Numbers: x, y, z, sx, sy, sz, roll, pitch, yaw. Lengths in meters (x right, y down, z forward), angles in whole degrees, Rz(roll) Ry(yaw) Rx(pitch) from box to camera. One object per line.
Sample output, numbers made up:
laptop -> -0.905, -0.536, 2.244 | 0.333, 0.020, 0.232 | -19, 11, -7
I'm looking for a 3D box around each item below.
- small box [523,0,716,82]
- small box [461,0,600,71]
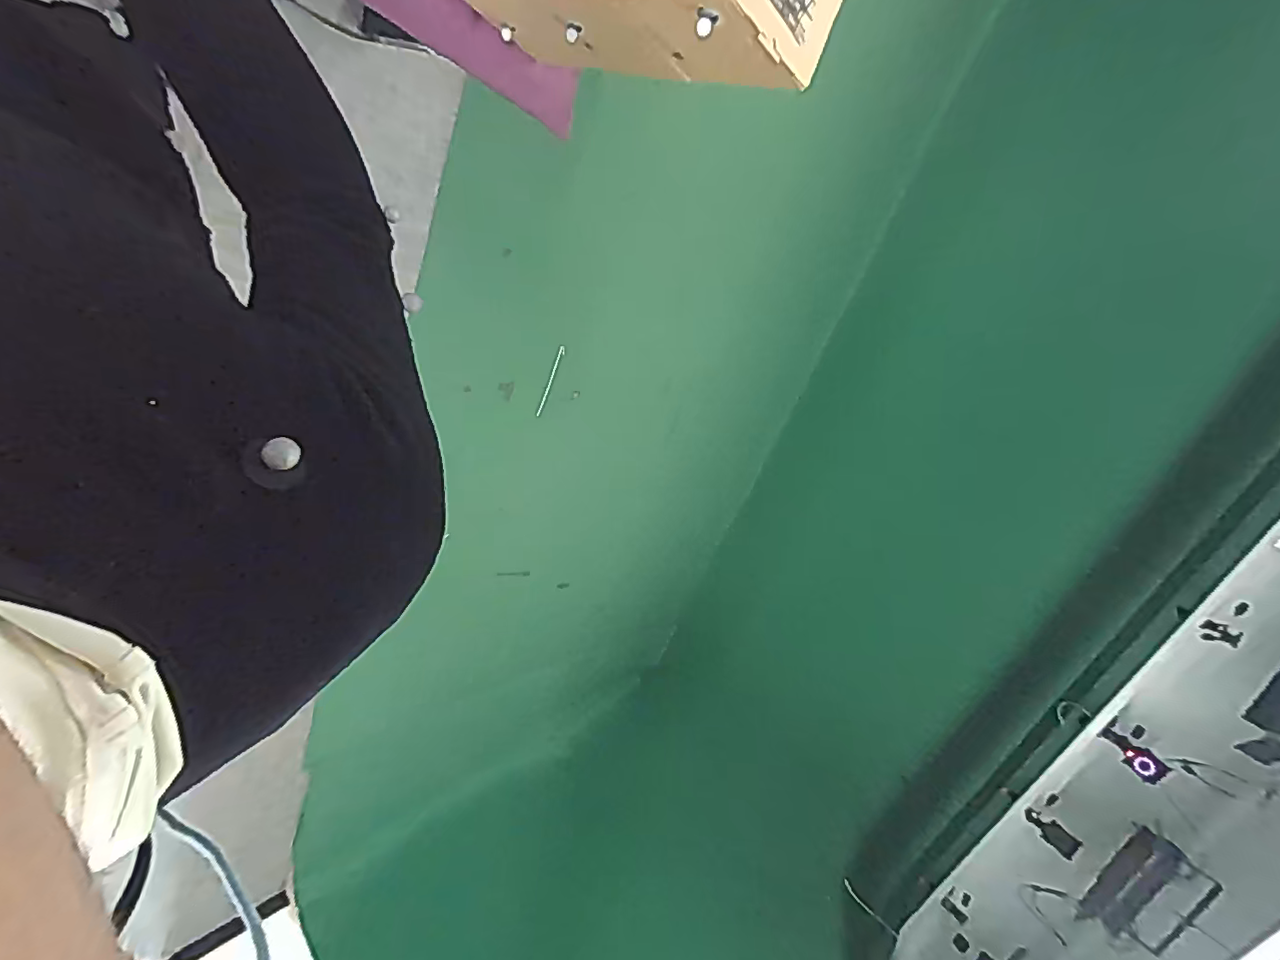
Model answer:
small box -> -0.015, -0.621, 0.641 | 0.168, 0.176, 0.179 | 1, 118, -52
small box -> -0.133, -0.697, 0.725 | 0.179, 0.176, 0.168 | 0, 119, -54
